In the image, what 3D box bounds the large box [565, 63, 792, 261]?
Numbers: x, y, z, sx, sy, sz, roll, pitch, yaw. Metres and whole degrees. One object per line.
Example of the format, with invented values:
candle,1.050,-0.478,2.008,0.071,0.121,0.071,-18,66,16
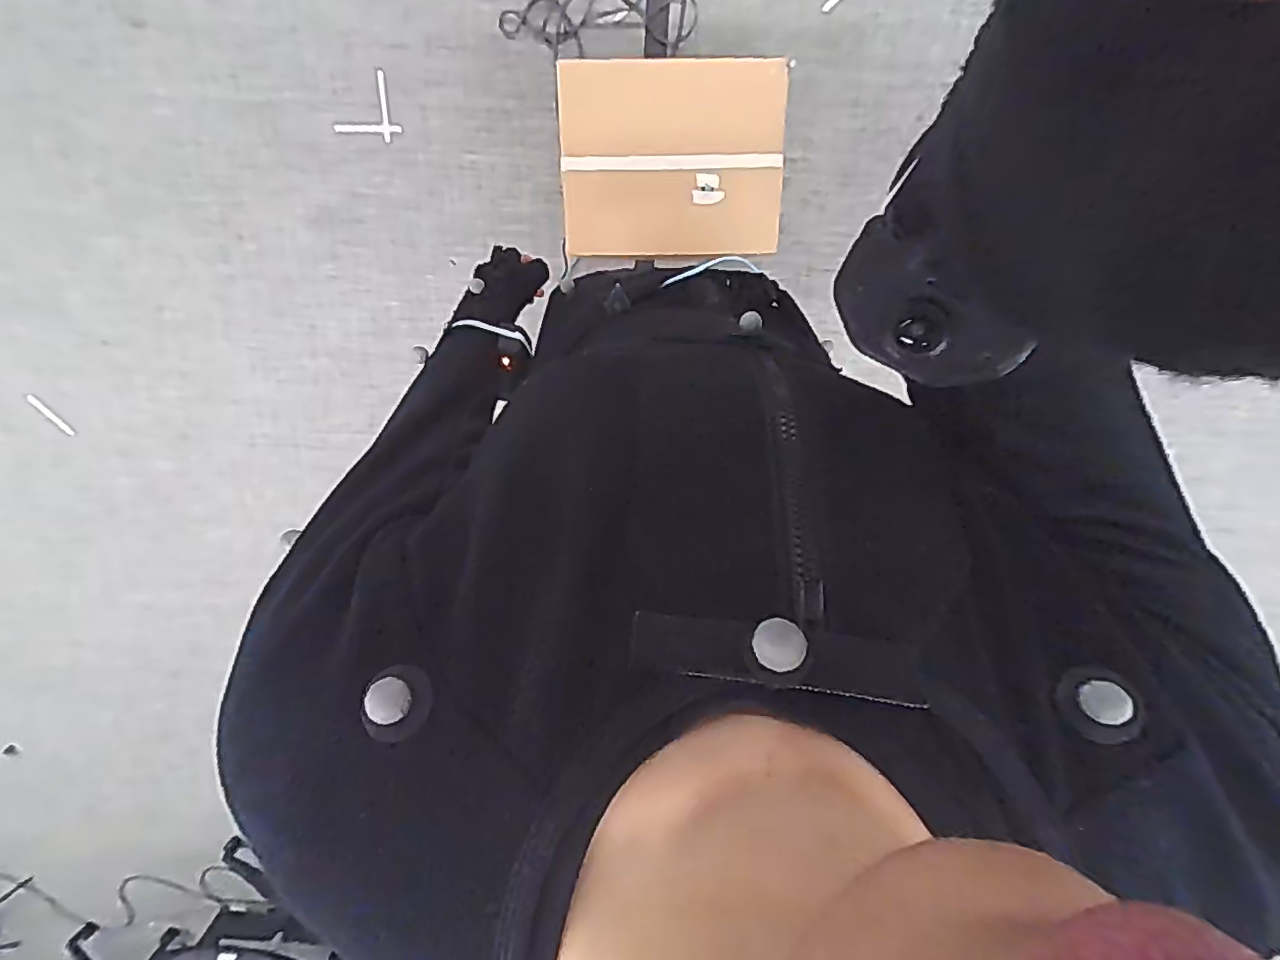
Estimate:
large box,0.066,-0.633,1.133,0.408,0.320,0.320,0,111,-1
